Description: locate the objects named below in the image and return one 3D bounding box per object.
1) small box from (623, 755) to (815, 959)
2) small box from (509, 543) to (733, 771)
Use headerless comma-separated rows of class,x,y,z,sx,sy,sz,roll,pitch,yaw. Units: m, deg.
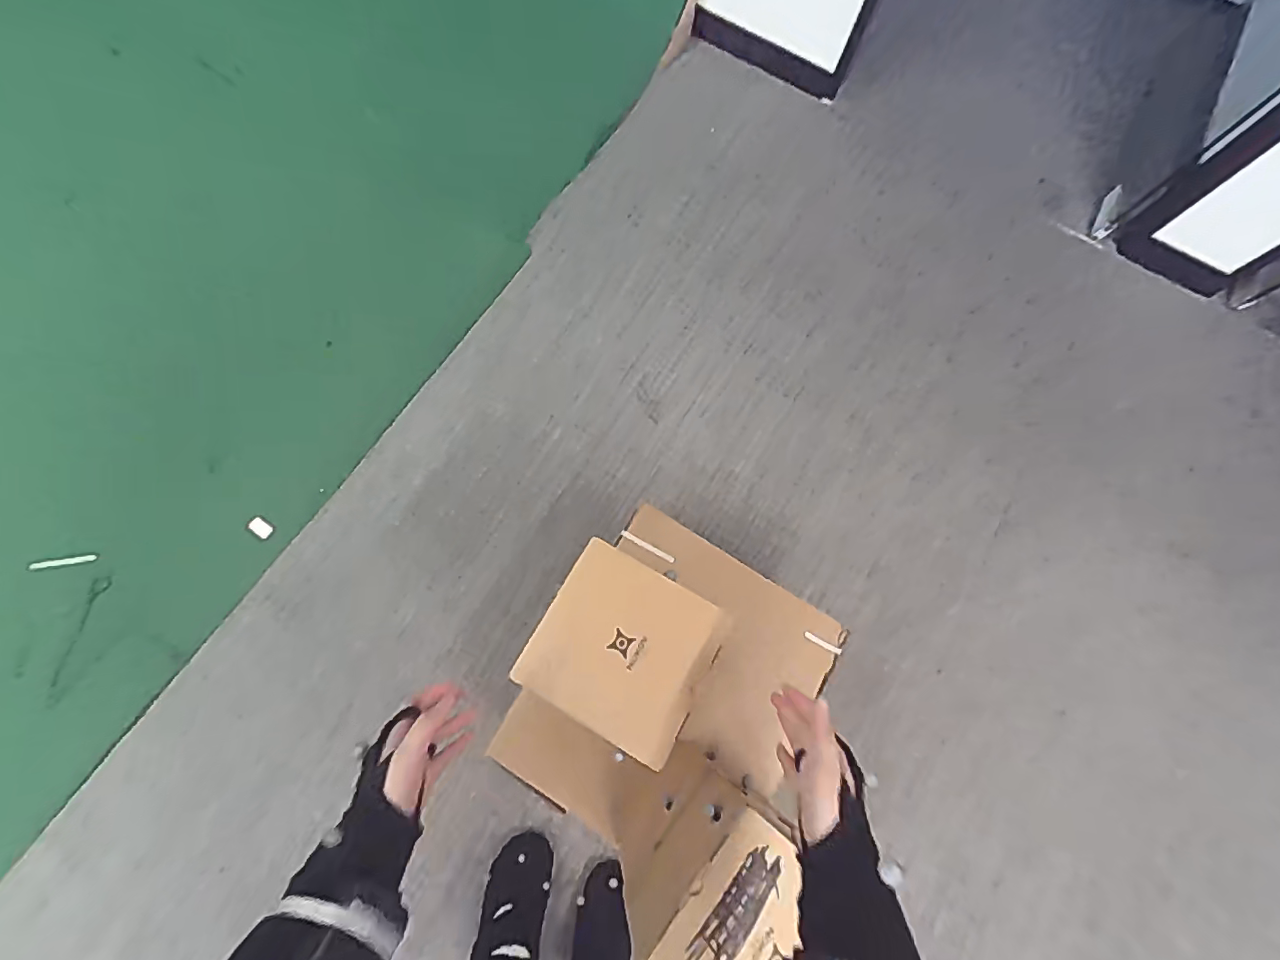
small box,0.089,0.492,0.706,0.168,0.176,0.179,35,72,6
small box,-0.024,0.200,0.621,0.179,0.176,0.168,30,71,4
